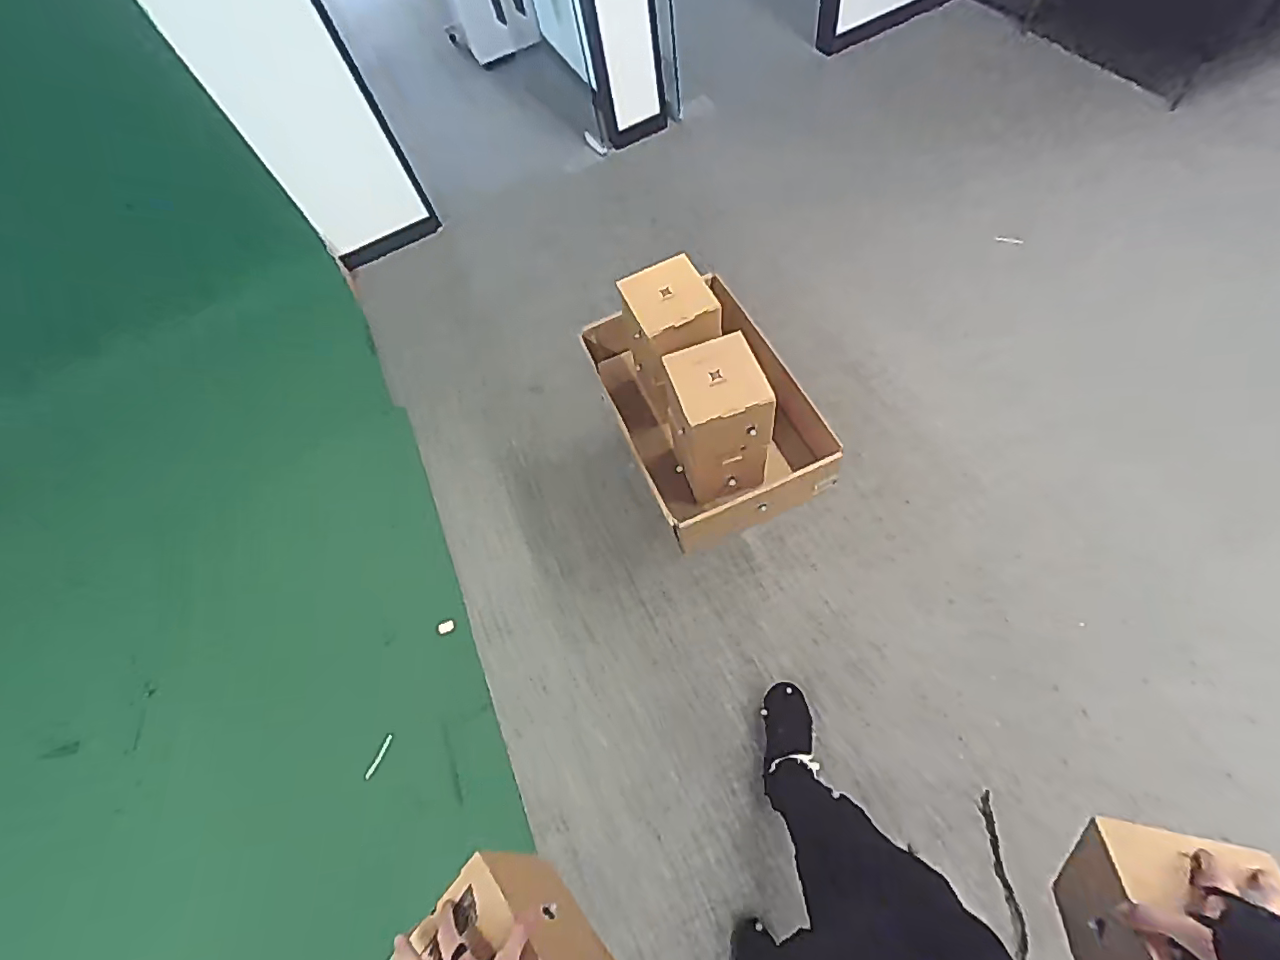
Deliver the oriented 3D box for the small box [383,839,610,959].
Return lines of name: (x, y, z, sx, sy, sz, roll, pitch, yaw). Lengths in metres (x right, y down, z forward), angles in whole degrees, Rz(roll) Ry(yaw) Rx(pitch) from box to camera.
small box: (-0.171, 0.591, 0.671, 0.179, 0.176, 0.168, 30, 74, 39)

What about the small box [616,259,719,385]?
small box: (0.062, -0.344, 1.199, 0.168, 0.176, 0.179, -24, 63, -4)

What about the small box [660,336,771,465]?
small box: (0.150, -0.148, 1.078, 0.168, 0.176, 0.179, -18, 60, -1)

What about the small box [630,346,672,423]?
small box: (0.084, -0.274, 1.343, 0.168, 0.176, 0.179, -24, 63, -3)
